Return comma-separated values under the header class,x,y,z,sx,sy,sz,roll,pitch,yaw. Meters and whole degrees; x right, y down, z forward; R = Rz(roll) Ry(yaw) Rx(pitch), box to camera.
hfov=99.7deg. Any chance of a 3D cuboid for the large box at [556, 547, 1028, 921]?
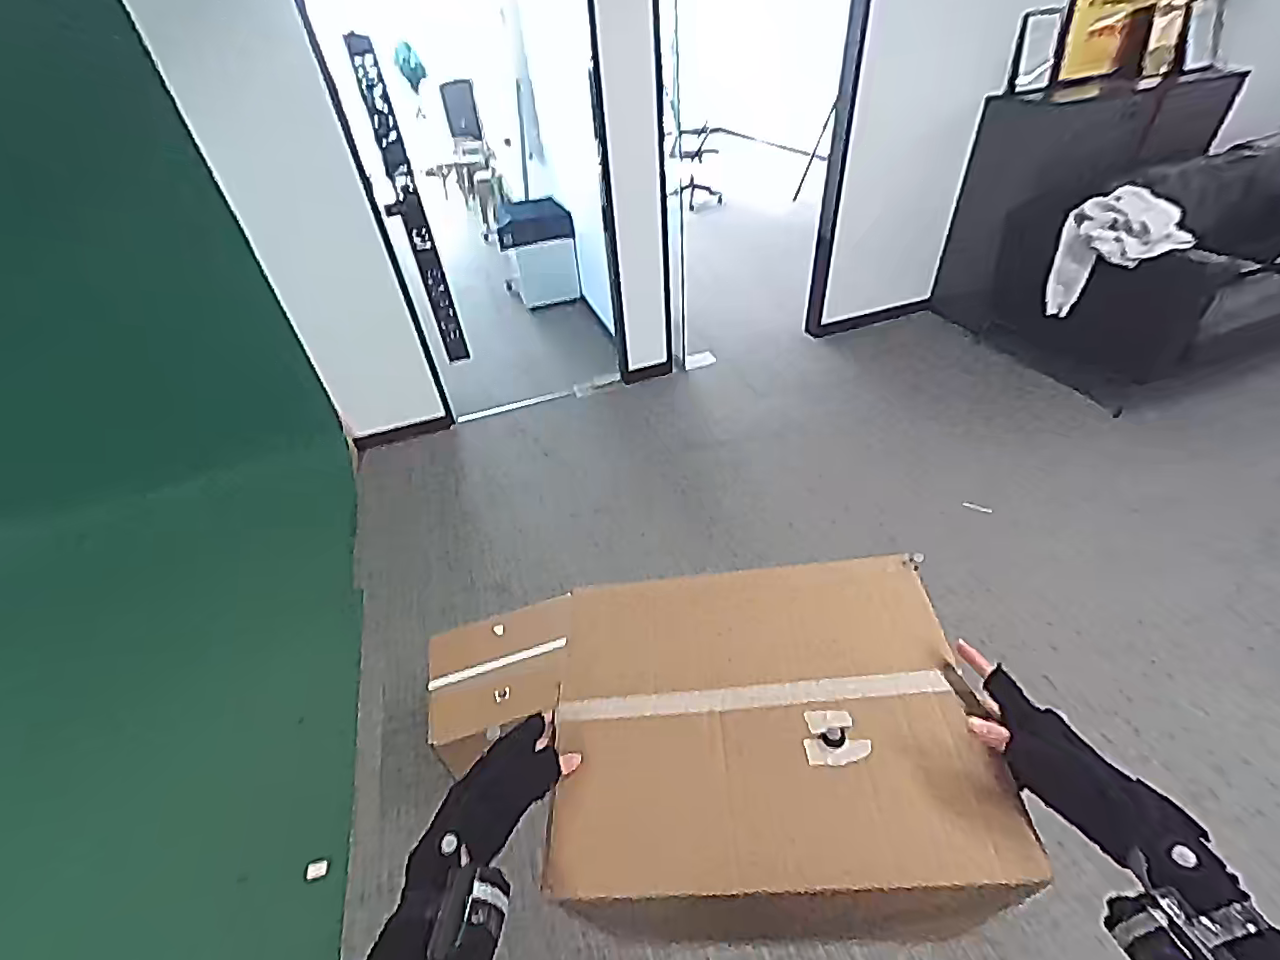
class,x,y,z,sx,sy,sz,roll,pitch,yaw
large box,0.139,0.315,0.661,0.408,0.320,0.320,-6,45,6
